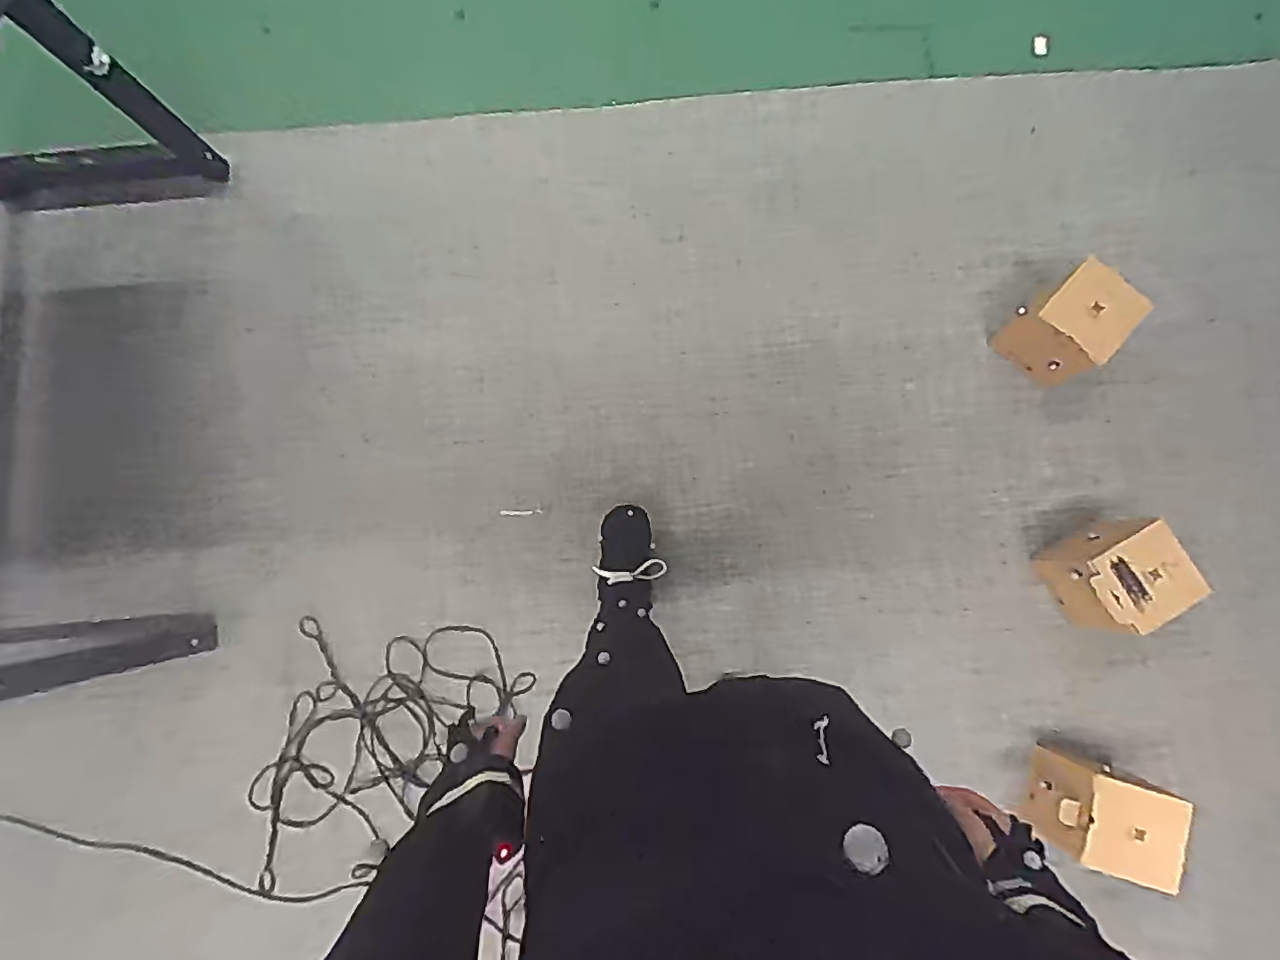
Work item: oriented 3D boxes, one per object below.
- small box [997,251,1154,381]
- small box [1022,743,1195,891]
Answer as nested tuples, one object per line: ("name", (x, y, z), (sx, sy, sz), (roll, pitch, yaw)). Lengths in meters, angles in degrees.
("small box", (0.920, -0.341, 1.167), (0.168, 0.176, 0.179), (42, 85, 4))
("small box", (0.899, 0.641, 1.052), (0.179, 0.176, 0.168), (15, 84, 3))
